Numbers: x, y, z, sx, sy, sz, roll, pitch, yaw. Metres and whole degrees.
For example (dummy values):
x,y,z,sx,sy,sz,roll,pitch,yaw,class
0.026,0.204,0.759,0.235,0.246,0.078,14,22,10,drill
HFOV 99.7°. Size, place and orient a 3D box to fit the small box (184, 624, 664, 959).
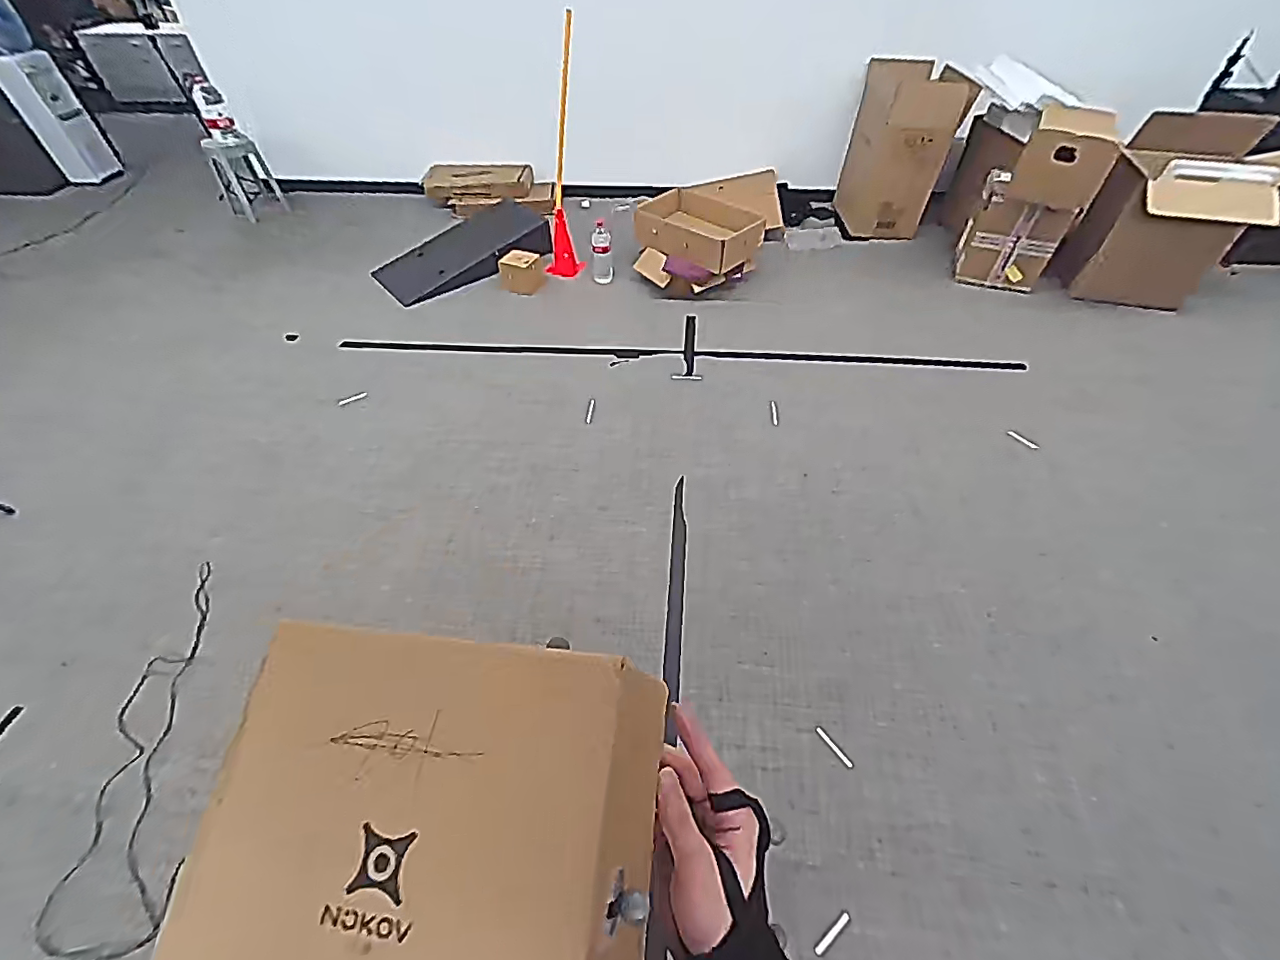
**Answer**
x,y,z,sx,sy,sz,roll,pitch,yaw,class
-0.081,0.184,0.287,0.168,0.176,0.179,2,66,10,small box
